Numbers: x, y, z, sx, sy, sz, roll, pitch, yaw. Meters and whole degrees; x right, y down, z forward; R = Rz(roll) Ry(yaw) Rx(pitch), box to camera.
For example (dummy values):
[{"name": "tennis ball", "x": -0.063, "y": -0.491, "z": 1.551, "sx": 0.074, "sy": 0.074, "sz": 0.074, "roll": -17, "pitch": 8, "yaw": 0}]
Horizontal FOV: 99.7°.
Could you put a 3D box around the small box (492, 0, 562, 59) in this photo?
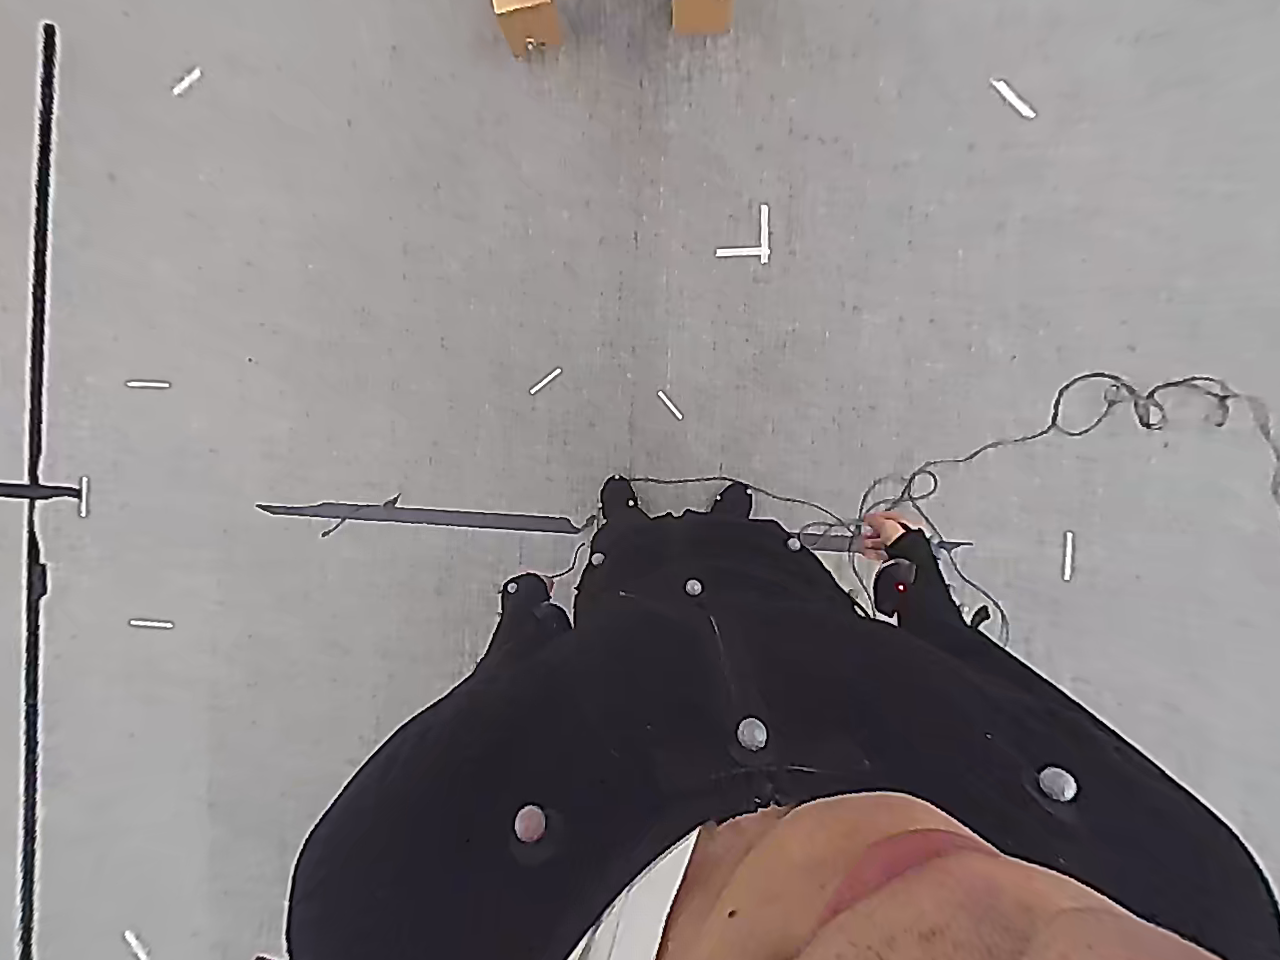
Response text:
[{"name": "small box", "x": -0.338, "y": -1.411, "z": 1.605, "sx": 0.168, "sy": 0.176, "sz": 0.179, "roll": -9, "pitch": 89, "yaw": 6}]

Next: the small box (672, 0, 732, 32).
[{"name": "small box", "x": 0.180, "y": -1.435, "z": 1.555, "sx": 0.179, "sy": 0.176, "sz": 0.168, "roll": 2, "pitch": 90, "yaw": 5}]
